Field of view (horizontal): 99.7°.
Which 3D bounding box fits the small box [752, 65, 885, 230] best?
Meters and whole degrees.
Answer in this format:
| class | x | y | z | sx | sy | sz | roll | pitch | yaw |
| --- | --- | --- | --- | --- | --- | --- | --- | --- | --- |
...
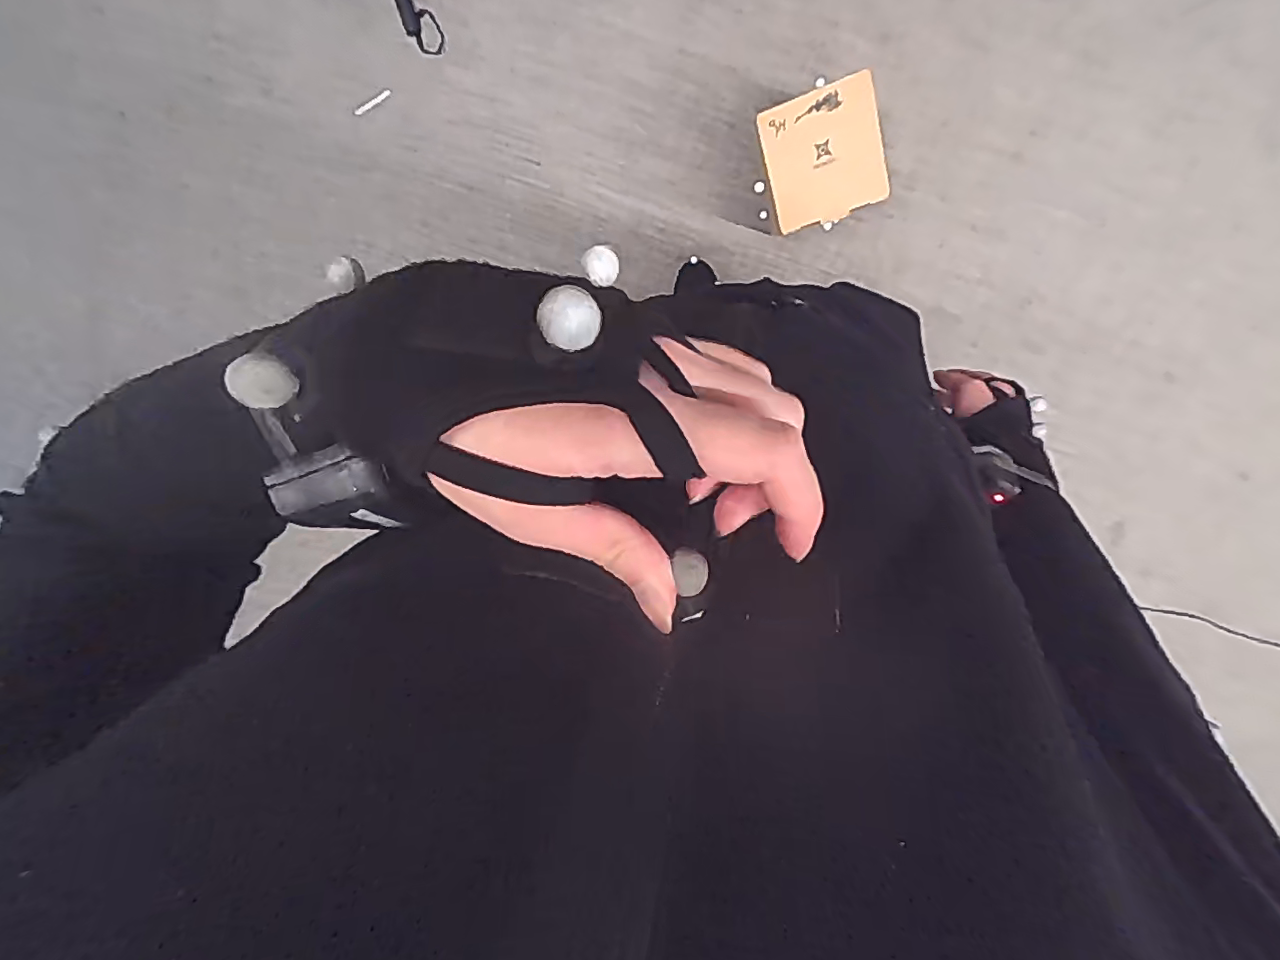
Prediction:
| class | x | y | z | sx | sy | sz | roll | pitch | yaw |
| --- | --- | --- | --- | --- | --- | --- | --- | --- | --- |
| small box | 0.284 | -0.527 | 0.882 | 0.168 | 0.176 | 0.179 | -14 | 113 | 15 |
